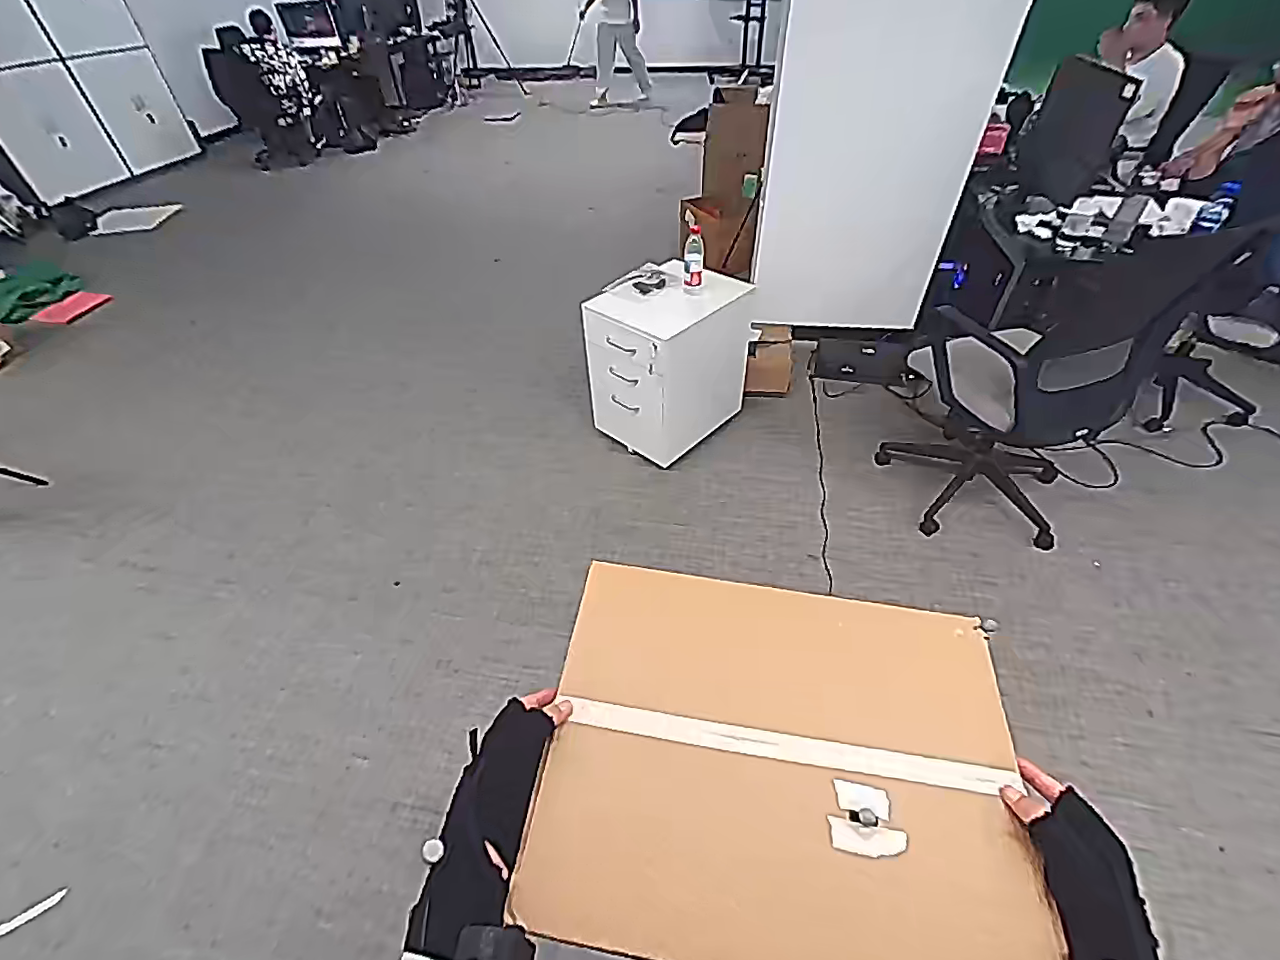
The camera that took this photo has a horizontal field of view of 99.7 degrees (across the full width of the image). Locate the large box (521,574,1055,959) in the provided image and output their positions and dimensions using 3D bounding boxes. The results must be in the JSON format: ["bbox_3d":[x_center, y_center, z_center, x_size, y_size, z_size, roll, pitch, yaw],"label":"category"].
[{"bbox_3d":[0.120,0.338,0.597,0.408,0.320,0.320,8,51,5],"label":"large box"}]
